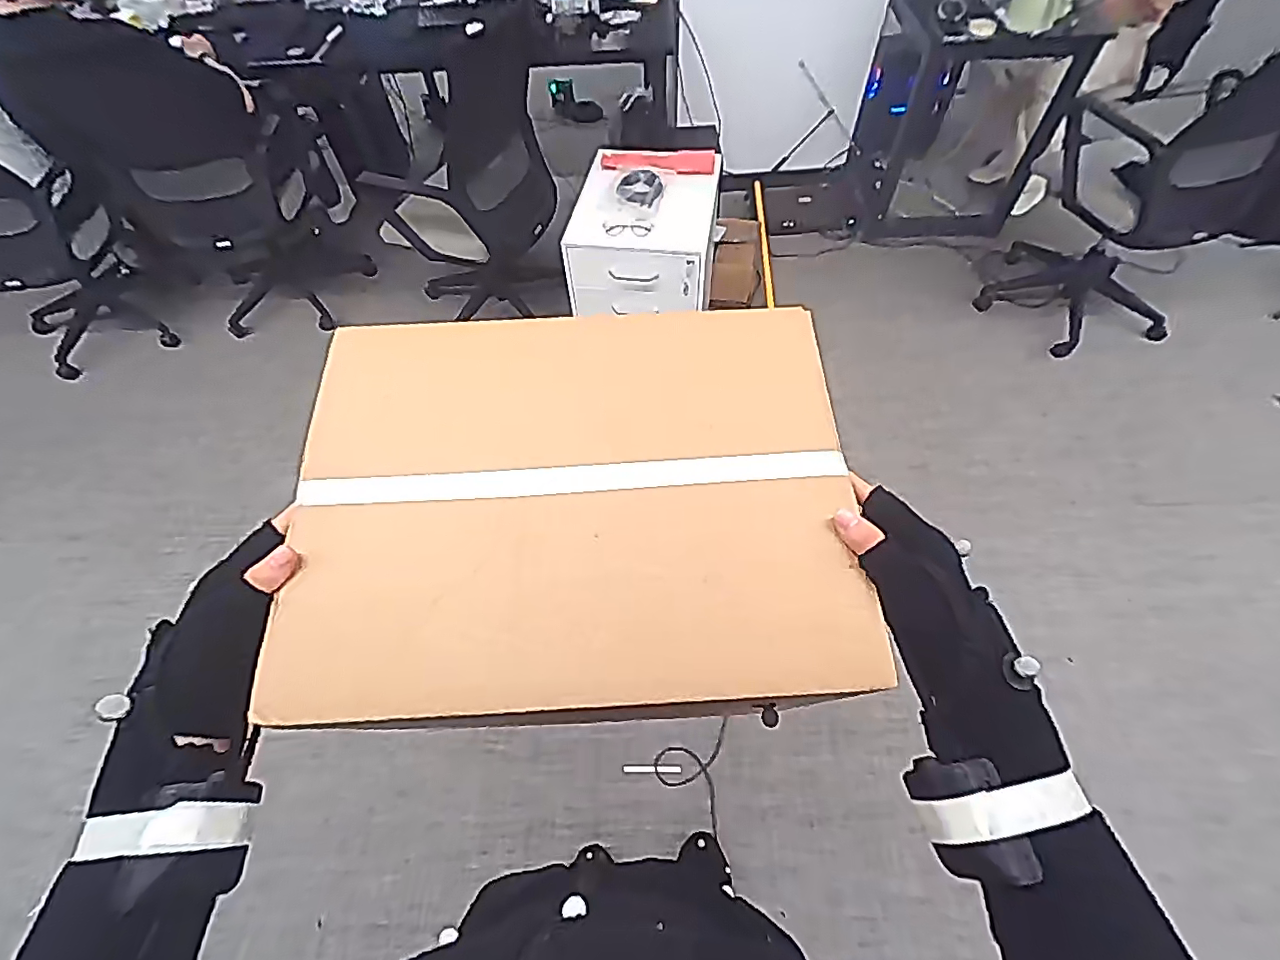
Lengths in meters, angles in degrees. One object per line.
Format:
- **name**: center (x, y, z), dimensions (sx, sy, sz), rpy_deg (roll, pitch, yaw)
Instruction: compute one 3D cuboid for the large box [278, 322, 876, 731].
- **large box**: center (-0.046, 0.071, 0.550), dimensions (0.408, 0.320, 0.320), rpy_deg (-3, 65, -1)
